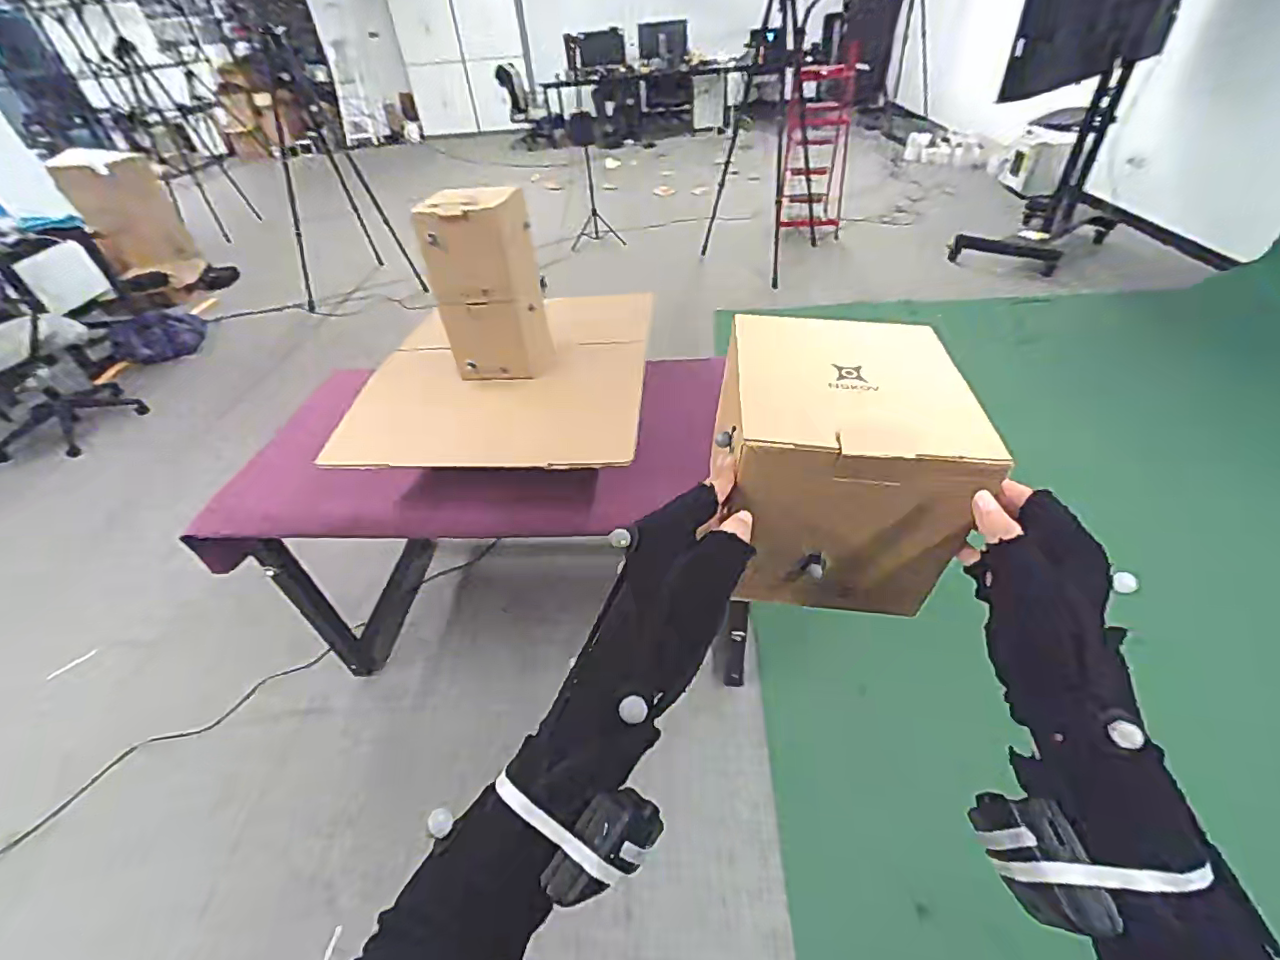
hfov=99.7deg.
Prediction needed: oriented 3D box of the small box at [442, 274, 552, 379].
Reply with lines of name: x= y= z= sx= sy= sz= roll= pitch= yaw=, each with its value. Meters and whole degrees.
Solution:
small box: x=-0.297 y=-0.328 z=1.168 sx=0.168 sy=0.176 sz=0.179 roll=0 pitch=40 yaw=7

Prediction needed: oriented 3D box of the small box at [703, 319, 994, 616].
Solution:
small box: x=0.143 y=-0.013 z=0.452 sx=0.168 sy=0.176 sz=0.179 roll=5 pitch=44 yaw=3
